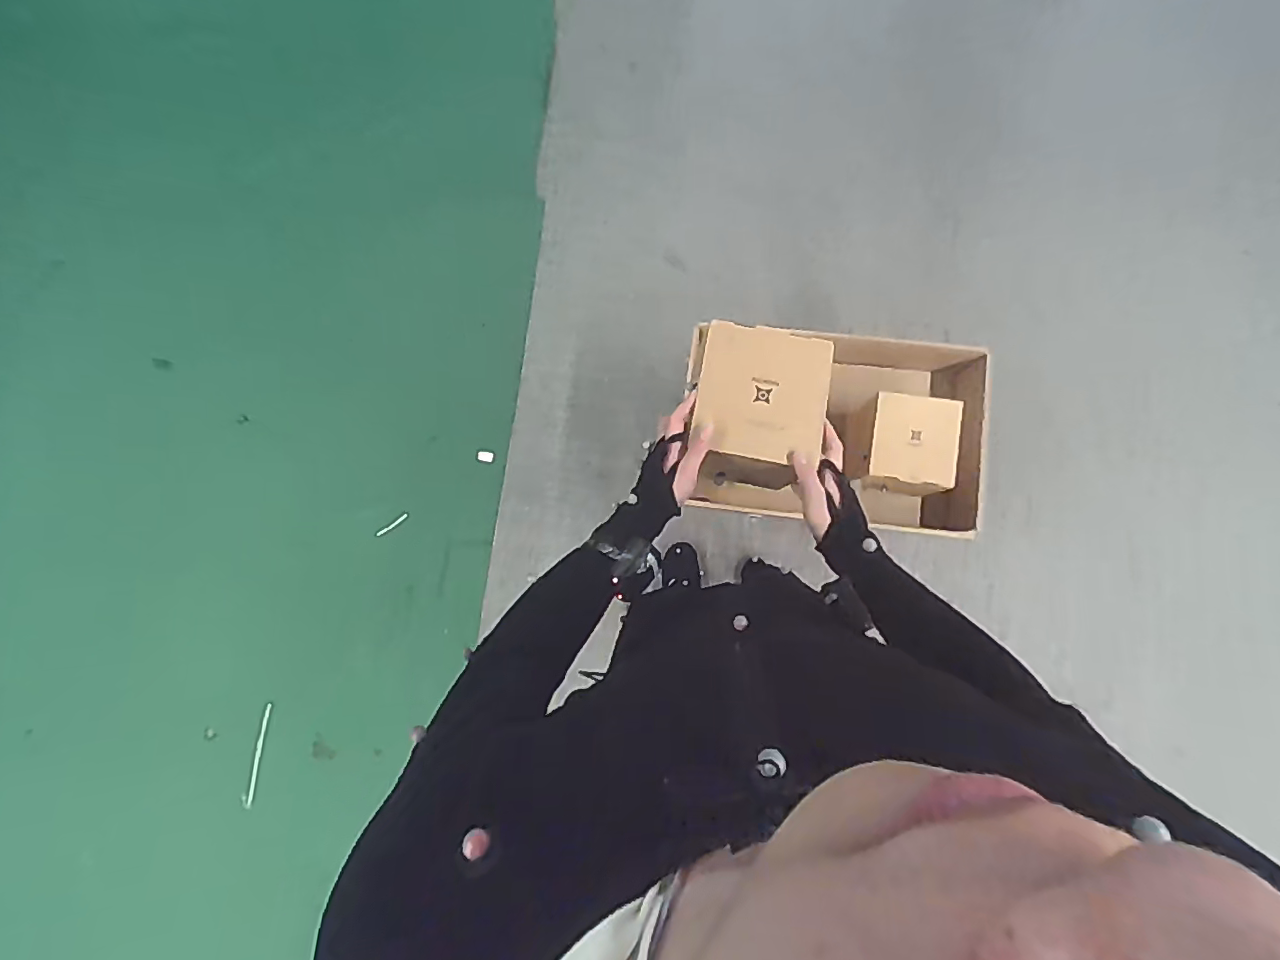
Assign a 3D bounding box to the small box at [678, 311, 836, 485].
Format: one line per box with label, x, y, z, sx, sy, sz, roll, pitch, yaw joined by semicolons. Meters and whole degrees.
small box;0.152;-0.103;0.750;0.168;0.176;0.179;11;80;0
